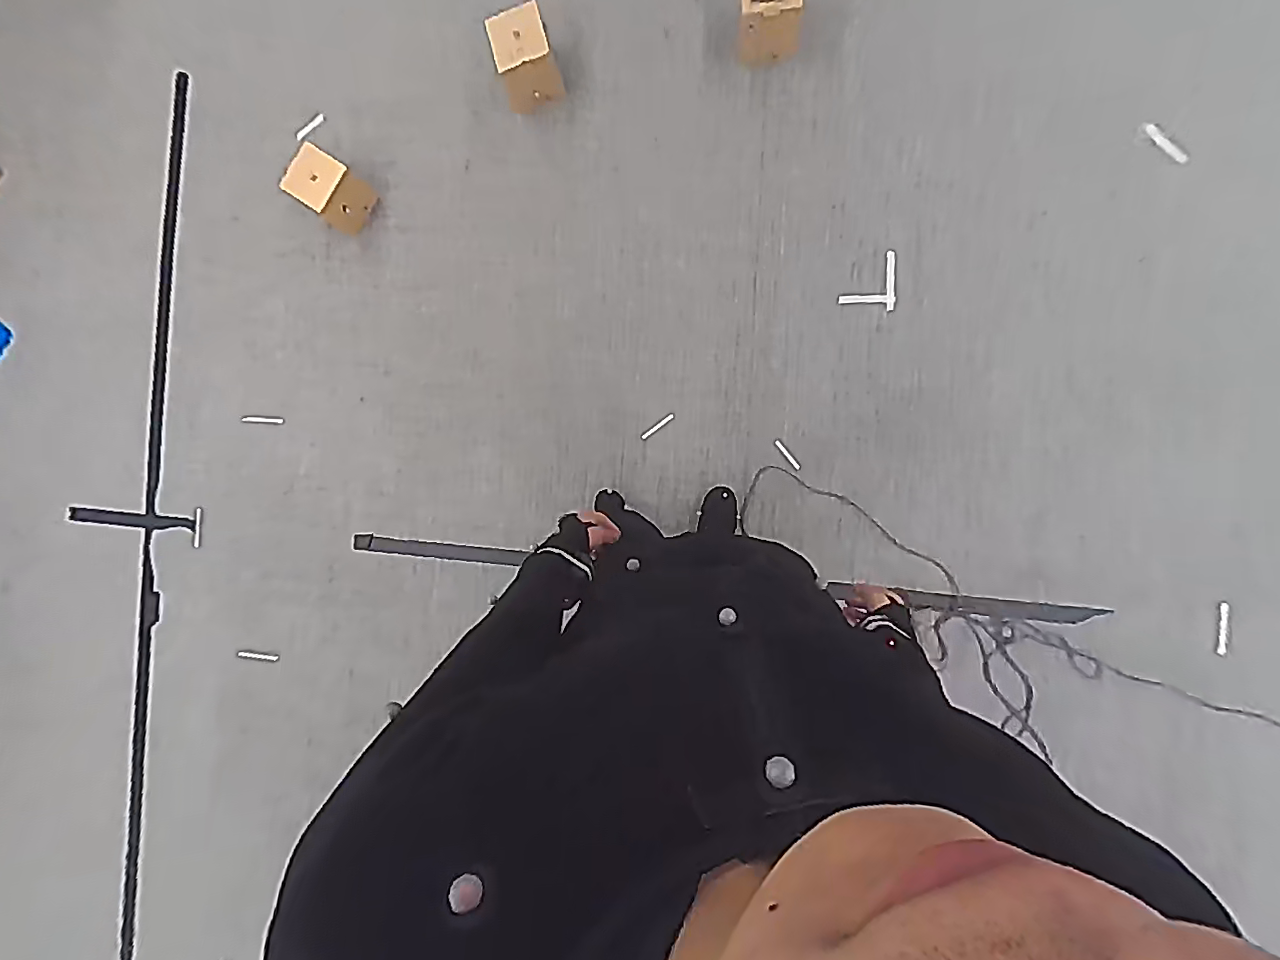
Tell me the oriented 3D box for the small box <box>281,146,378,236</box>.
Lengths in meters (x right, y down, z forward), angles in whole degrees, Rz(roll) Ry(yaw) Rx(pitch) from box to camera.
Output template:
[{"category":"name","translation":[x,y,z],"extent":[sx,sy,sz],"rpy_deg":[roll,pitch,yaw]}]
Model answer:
[{"category":"small box","translation":[-0.991,-0.919,1.743],"extent":[0.179,0.176,0.168],"rpy_deg":[34,94,8]}]

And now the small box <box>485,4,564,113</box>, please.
[{"category":"small box","translation":[-0.349,-1.285,1.662],"extent":[0.168,0.176,0.179],"rpy_deg":[-16,87,8]}]
